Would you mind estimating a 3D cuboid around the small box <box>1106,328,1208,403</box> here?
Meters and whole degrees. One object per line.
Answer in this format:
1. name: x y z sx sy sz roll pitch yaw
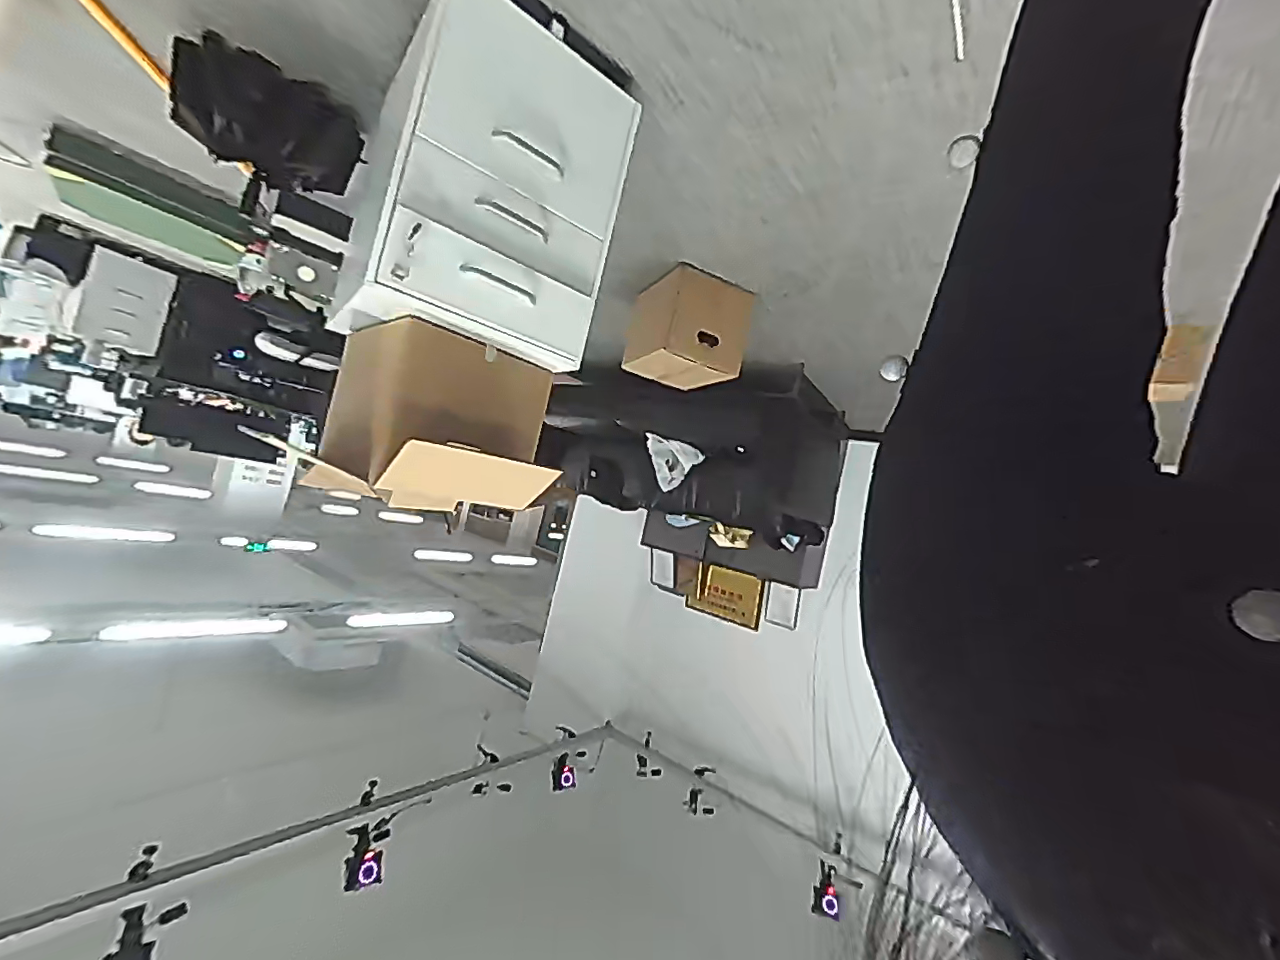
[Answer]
1. small box: 1.517 -0.339 1.593 0.179 0.176 0.168 11 176 34
